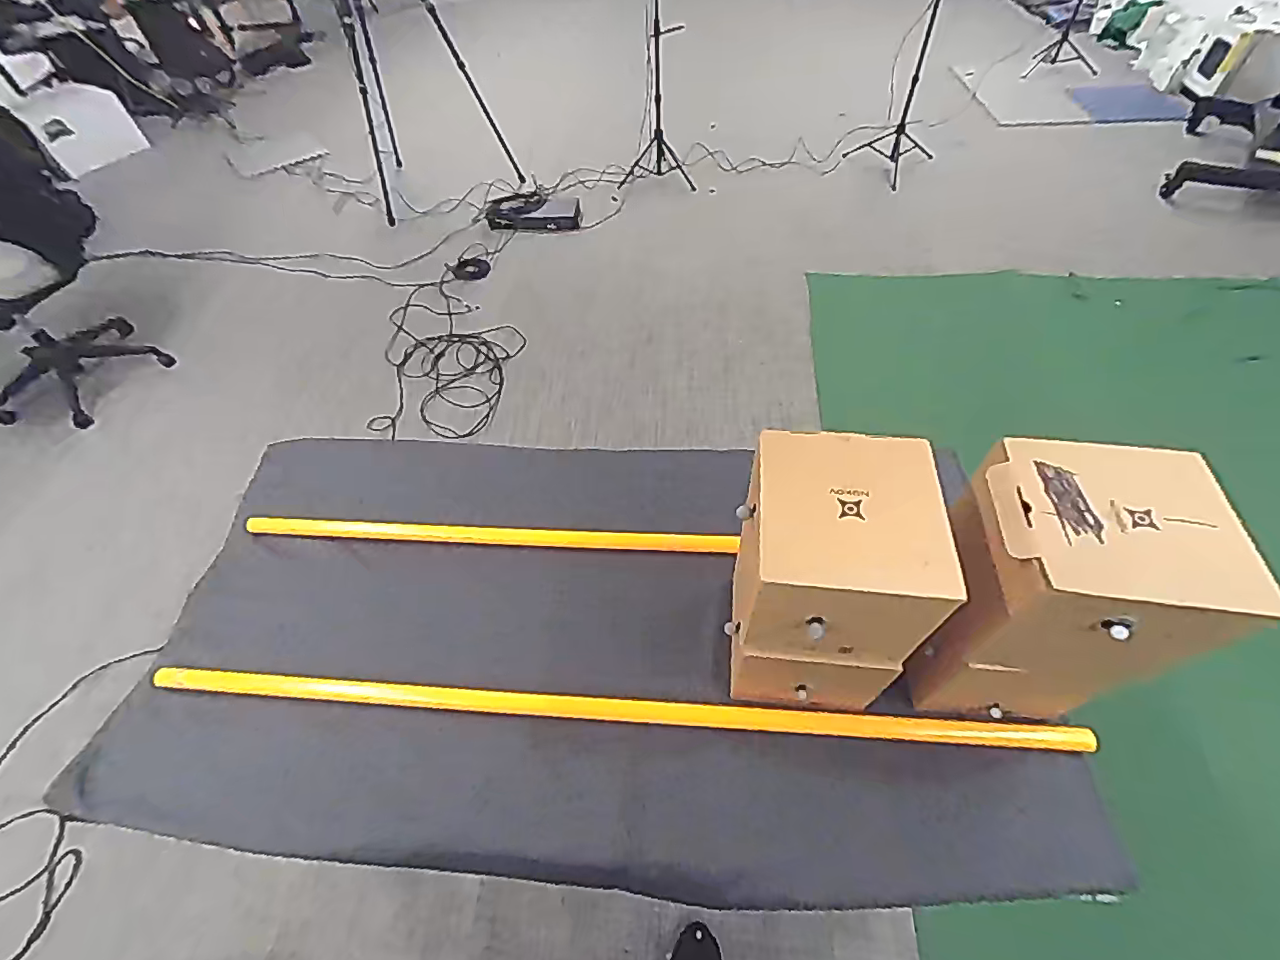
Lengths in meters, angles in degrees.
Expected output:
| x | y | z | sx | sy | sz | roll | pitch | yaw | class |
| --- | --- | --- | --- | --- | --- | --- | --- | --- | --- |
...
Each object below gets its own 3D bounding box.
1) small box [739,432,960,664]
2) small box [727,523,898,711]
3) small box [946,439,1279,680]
| x | y | z | sx | sy | sz | roll | pitch | yaw | class |
| --- | --- | --- | --- | --- | --- | --- | --- | --- | --- |
| 0.192 | 0.073 | 0.552 | 0.168 | 0.176 | 0.179 | 3 | 52 | 7 | small box |
| 0.201 | 0.175 | 0.679 | 0.168 | 0.176 | 0.179 | 4 | 53 | 6 | small box |
| 0.421 | 0.081 | 0.528 | 0.179 | 0.176 | 0.168 | 6 | 54 | 7 | small box |
